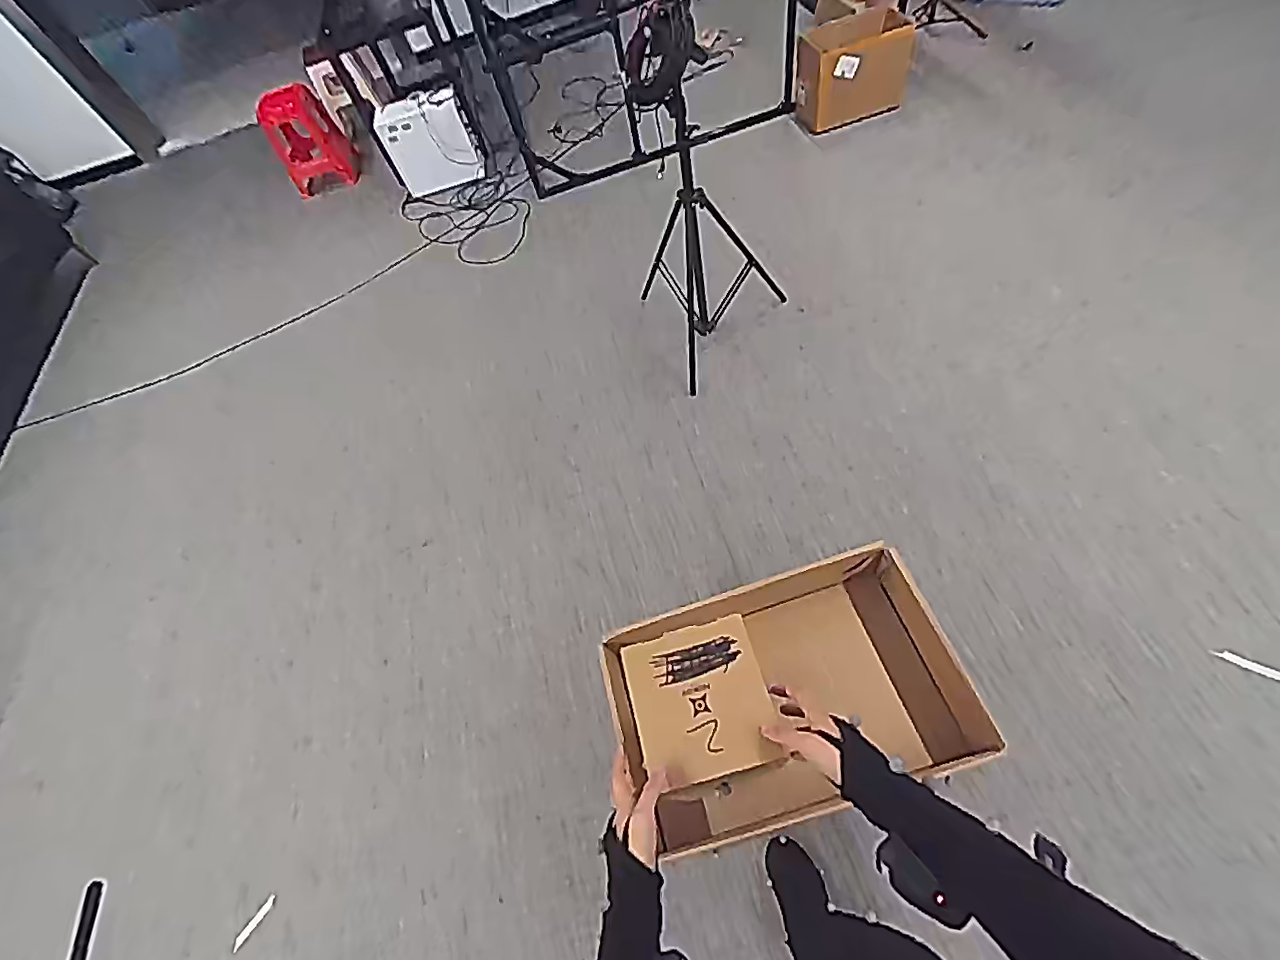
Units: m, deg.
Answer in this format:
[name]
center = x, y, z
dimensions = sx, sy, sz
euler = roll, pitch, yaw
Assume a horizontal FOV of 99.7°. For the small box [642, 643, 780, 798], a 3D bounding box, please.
[small box]
center = 0.113, 0.388, 0.864
dimensions = 0.168, 0.176, 0.179
euler = -18, 56, 2
